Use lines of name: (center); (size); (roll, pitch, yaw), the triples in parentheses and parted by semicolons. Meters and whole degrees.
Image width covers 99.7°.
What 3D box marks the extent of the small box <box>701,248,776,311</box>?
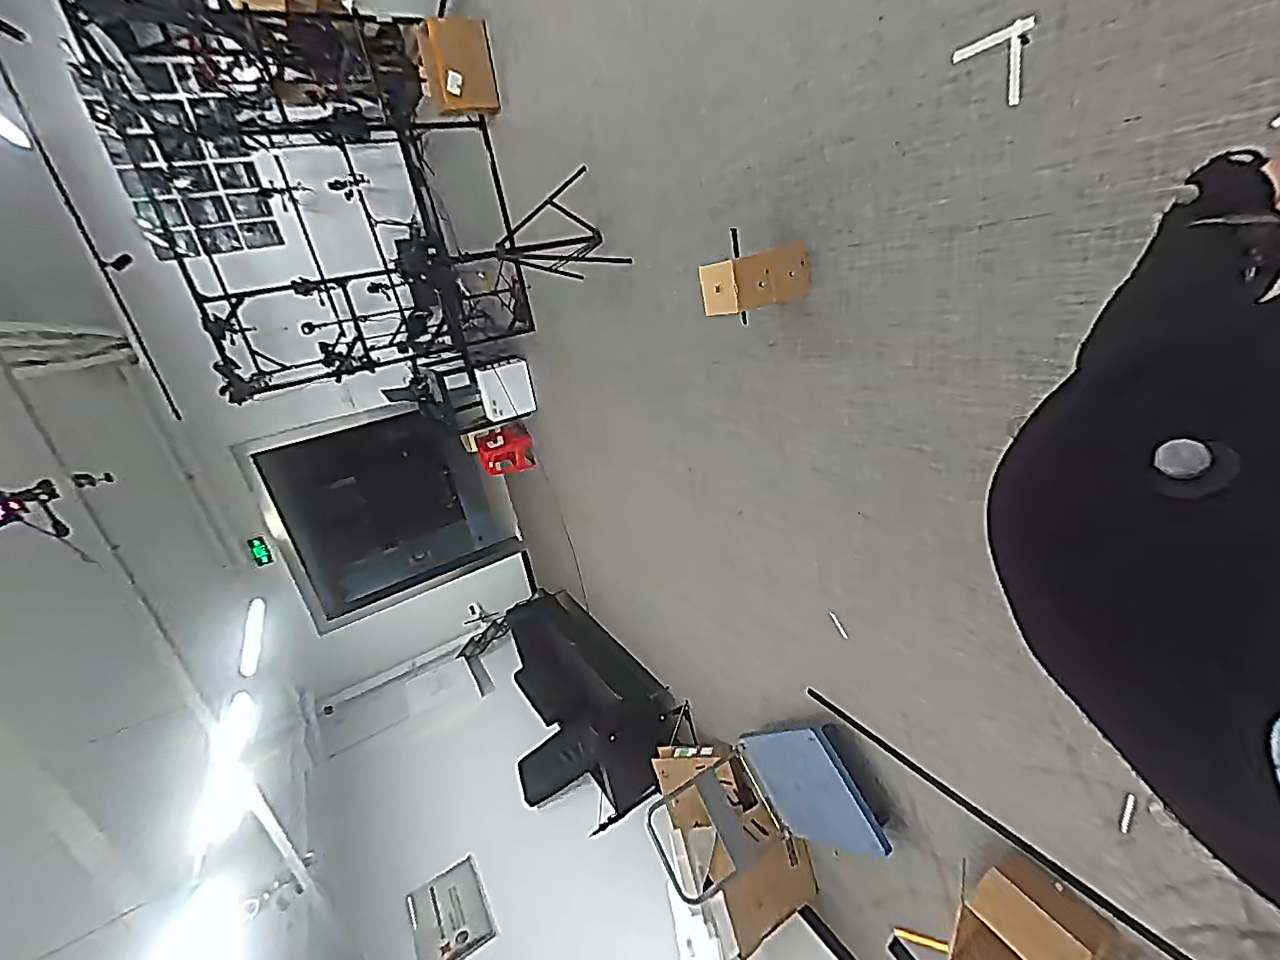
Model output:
small box: (0.332, -0.671, 1.817); (0.179, 0.176, 0.168); (20, 127, 57)

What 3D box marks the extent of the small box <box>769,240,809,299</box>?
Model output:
small box: (0.470, -0.726, 1.885); (0.179, 0.176, 0.168); (20, 126, 59)
